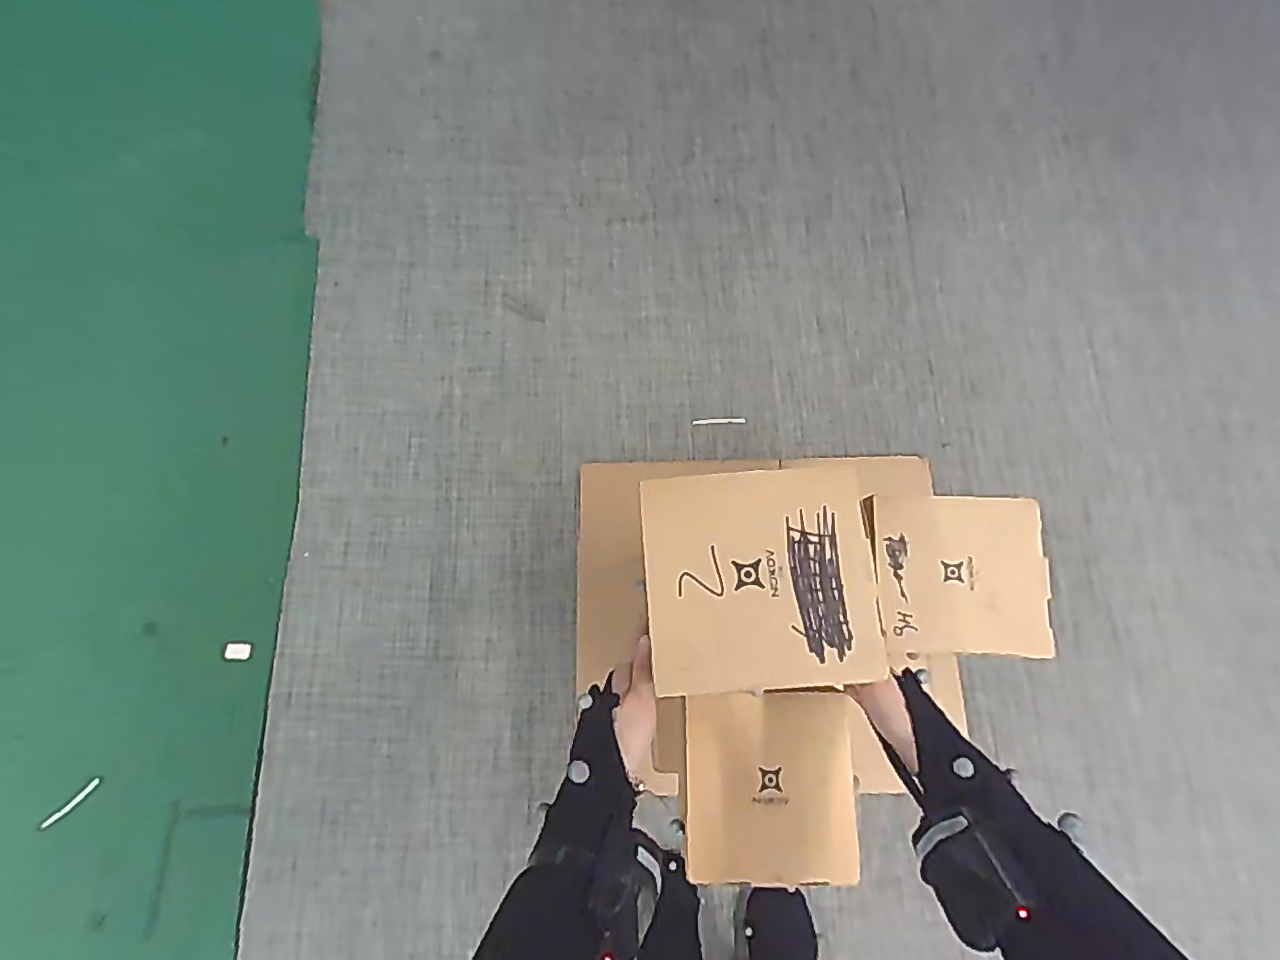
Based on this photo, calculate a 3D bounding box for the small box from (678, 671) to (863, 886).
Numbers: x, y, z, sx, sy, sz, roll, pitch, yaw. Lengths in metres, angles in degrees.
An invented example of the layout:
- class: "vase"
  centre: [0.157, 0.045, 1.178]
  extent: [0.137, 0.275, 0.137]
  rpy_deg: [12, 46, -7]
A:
- class: "small box"
  centre: [0.130, 0.314, 0.604]
  extent: [0.168, 0.176, 0.179]
  rpy_deg: [0, 78, 1]

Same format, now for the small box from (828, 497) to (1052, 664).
- class: "small box"
  centre: [0.337, 0.118, 0.642]
  extent: [0.179, 0.176, 0.168]
  rpy_deg: [2, 77, 4]
